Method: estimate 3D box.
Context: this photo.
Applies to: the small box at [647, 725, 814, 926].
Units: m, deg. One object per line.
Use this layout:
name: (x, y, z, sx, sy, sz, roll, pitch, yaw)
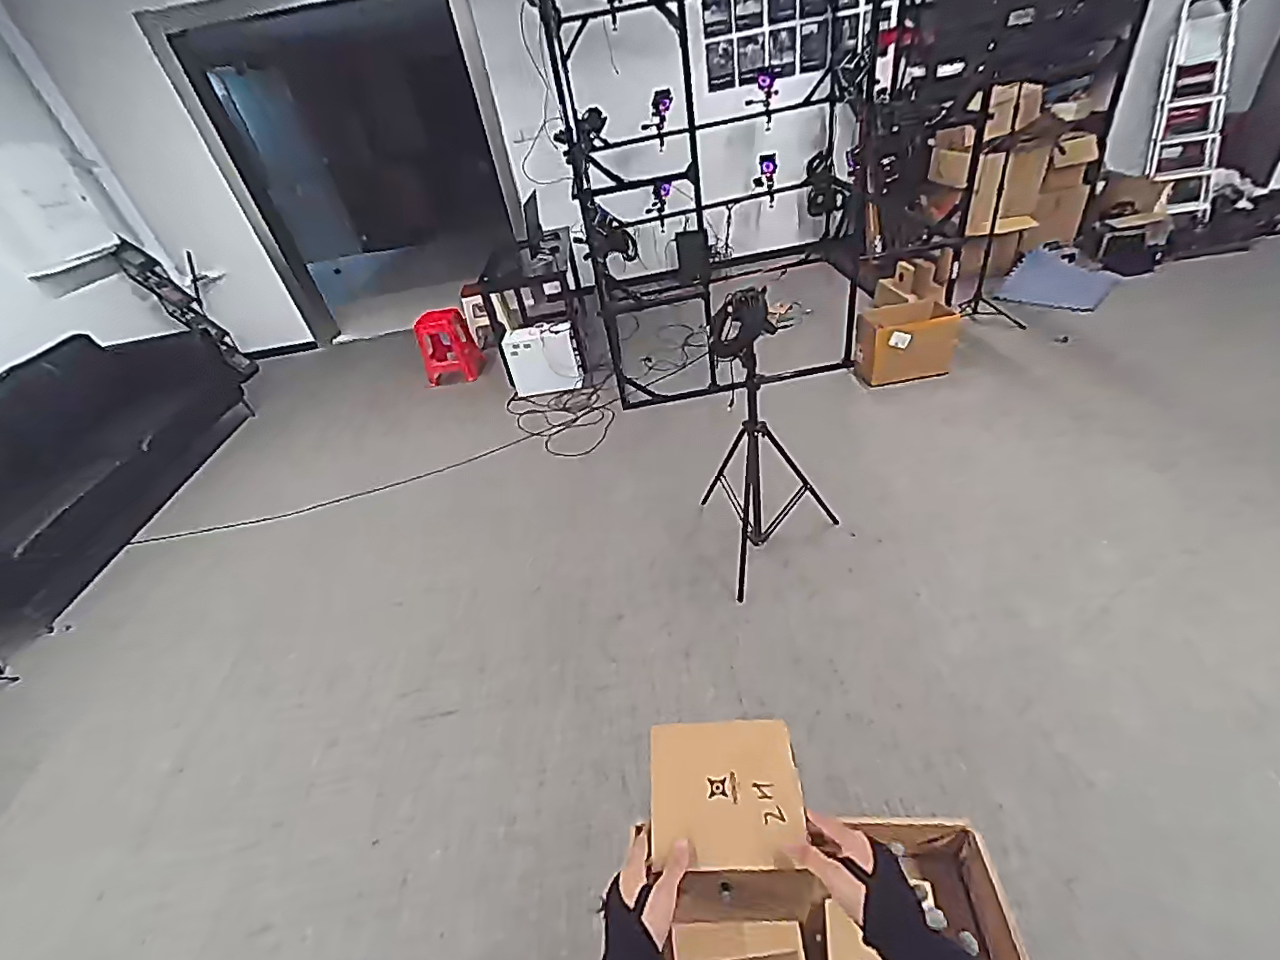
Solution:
small box: (0.106, 0.427, 0.670, 0.179, 0.176, 0.168, -4, 37, 5)
